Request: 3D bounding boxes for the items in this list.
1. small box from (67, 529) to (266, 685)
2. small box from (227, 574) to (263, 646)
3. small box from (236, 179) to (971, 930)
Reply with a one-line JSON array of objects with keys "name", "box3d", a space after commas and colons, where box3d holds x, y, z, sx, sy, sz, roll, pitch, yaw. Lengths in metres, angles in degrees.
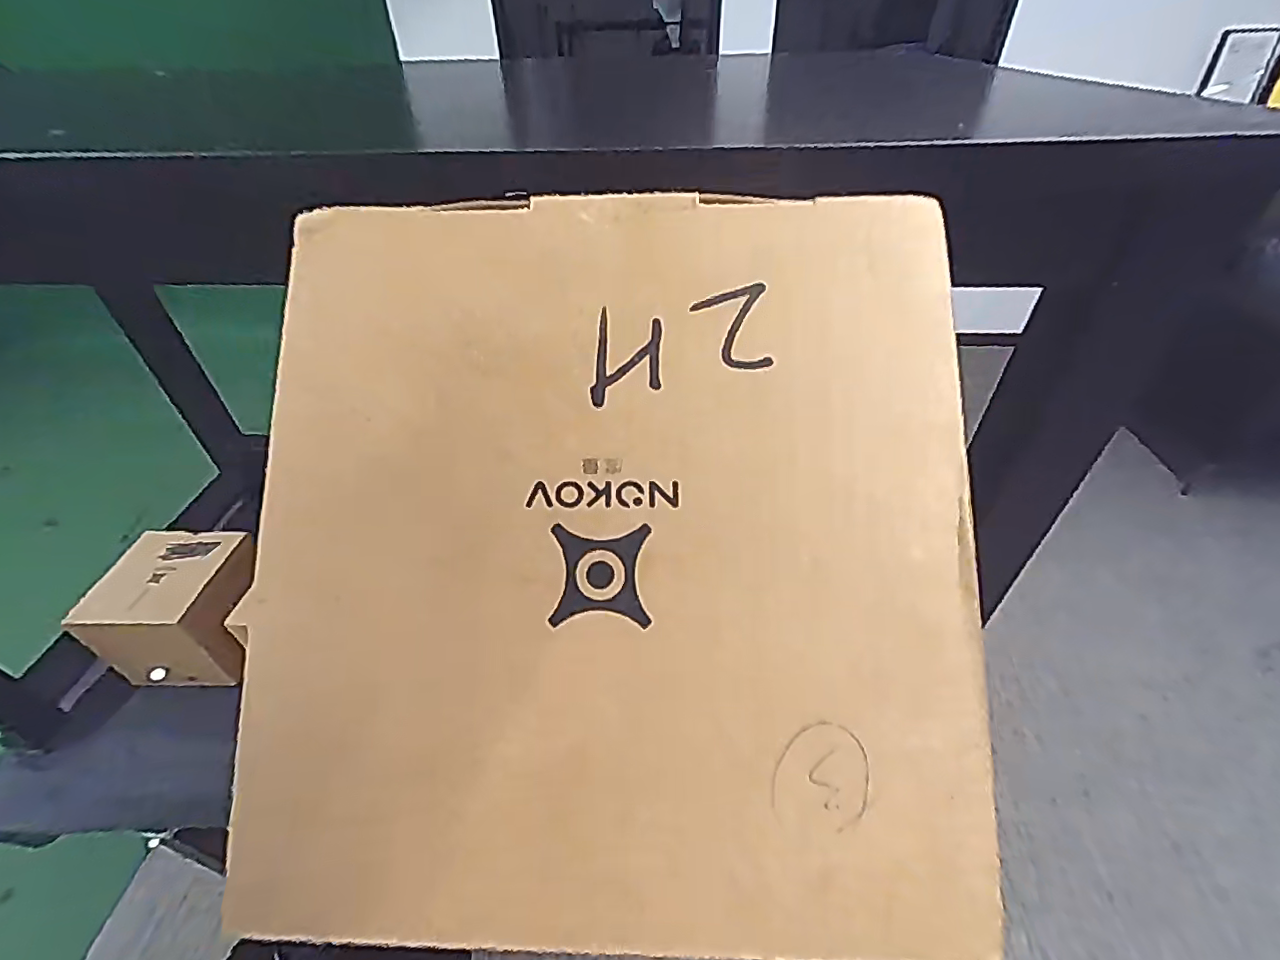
[{"name": "small box", "box3d": [-0.700, 0.197, 0.849, 0.168, 0.176, 0.179, 0, 41, 1]}, {"name": "small box", "box3d": [-0.474, 0.201, 0.843, 0.168, 0.176, 0.179, 2, 40, 3]}, {"name": "small box", "box3d": [-0.005, 0.020, 0.209, 0.168, 0.176, 0.179, 1, 81, 2]}]
